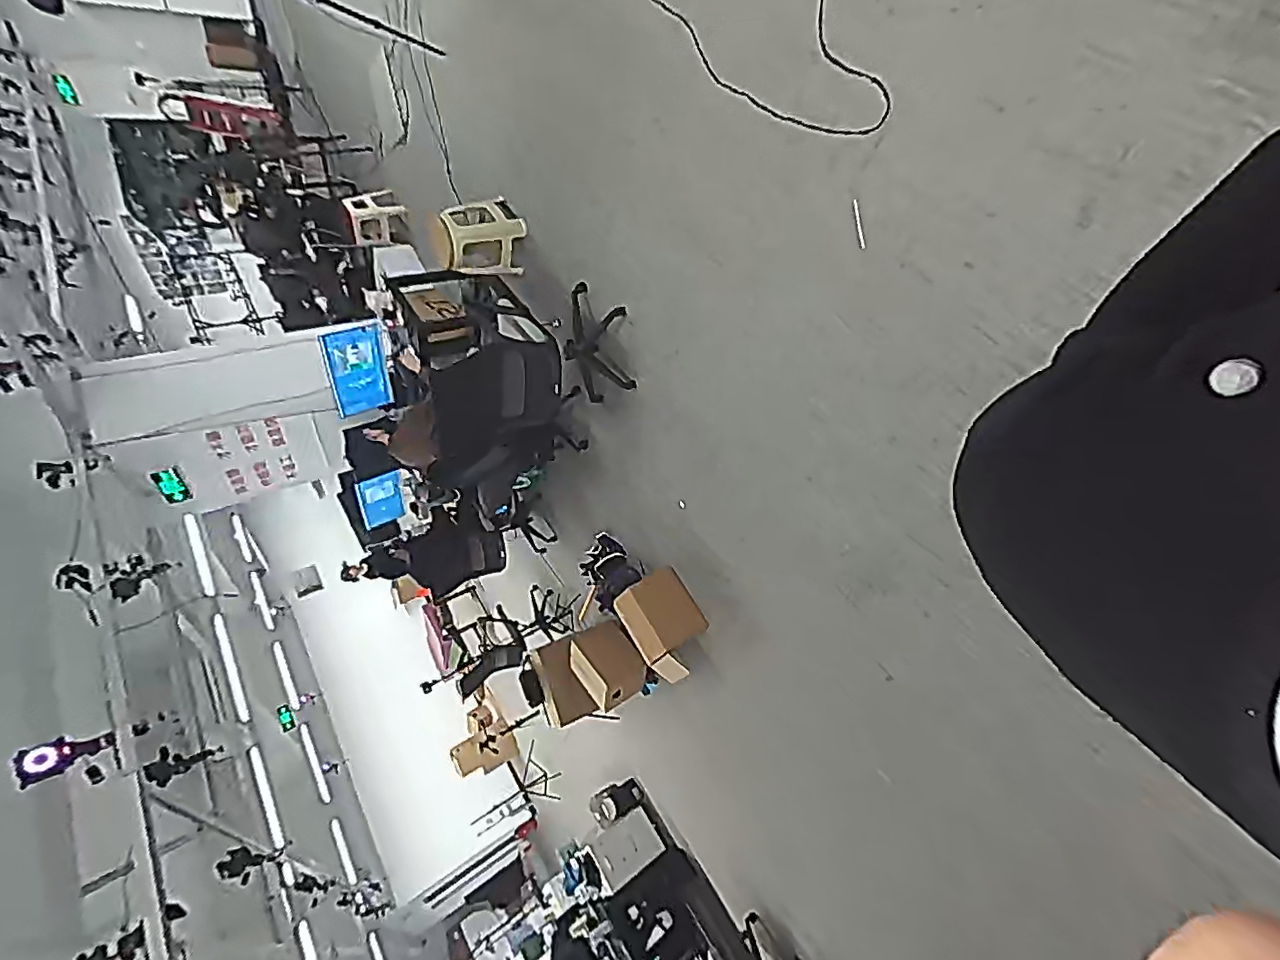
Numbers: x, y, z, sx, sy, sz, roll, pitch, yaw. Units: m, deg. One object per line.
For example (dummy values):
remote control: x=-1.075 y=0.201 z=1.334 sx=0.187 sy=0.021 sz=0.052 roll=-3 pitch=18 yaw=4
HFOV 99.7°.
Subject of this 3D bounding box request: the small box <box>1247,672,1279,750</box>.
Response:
small box: x=1.366 y=0.465 z=1.053 sx=0.168 sy=0.176 sz=0.179 roll=49 pitch=143 yaw=28
